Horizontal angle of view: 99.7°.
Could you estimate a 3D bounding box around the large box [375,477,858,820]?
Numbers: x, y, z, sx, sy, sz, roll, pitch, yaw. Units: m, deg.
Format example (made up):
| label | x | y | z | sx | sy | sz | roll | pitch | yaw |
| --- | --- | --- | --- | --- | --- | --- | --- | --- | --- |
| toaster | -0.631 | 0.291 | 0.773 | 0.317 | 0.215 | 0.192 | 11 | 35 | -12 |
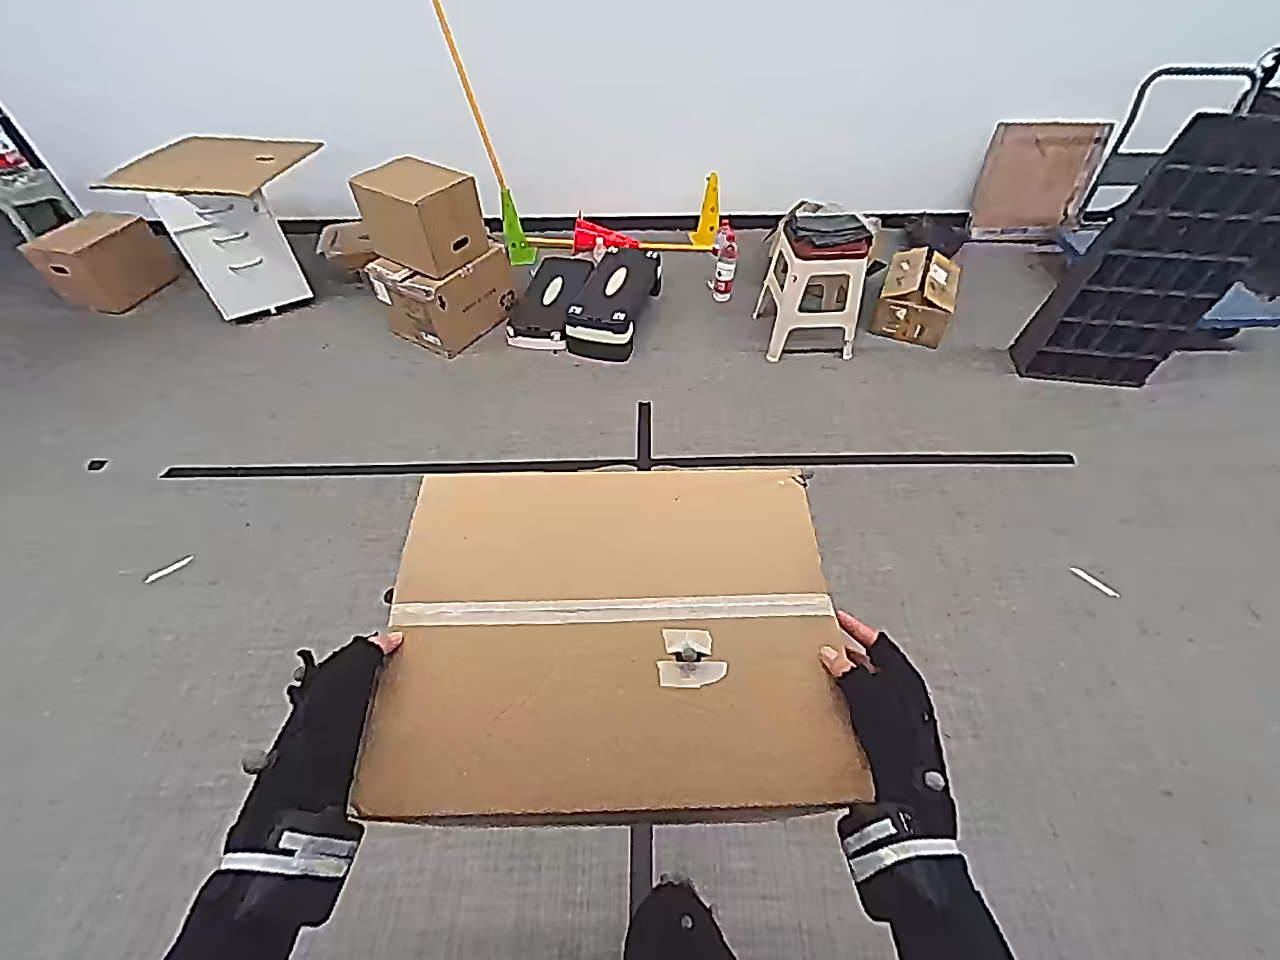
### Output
| label | x | y | z | sx | sy | sz | roll | pitch | yaw |
| --- | --- | --- | --- | --- | --- | --- | --- | --- | --- |
| large box | -0.025 | 0.209 | 0.642 | 0.408 | 0.320 | 0.320 | 0 | 56 | -1 |
